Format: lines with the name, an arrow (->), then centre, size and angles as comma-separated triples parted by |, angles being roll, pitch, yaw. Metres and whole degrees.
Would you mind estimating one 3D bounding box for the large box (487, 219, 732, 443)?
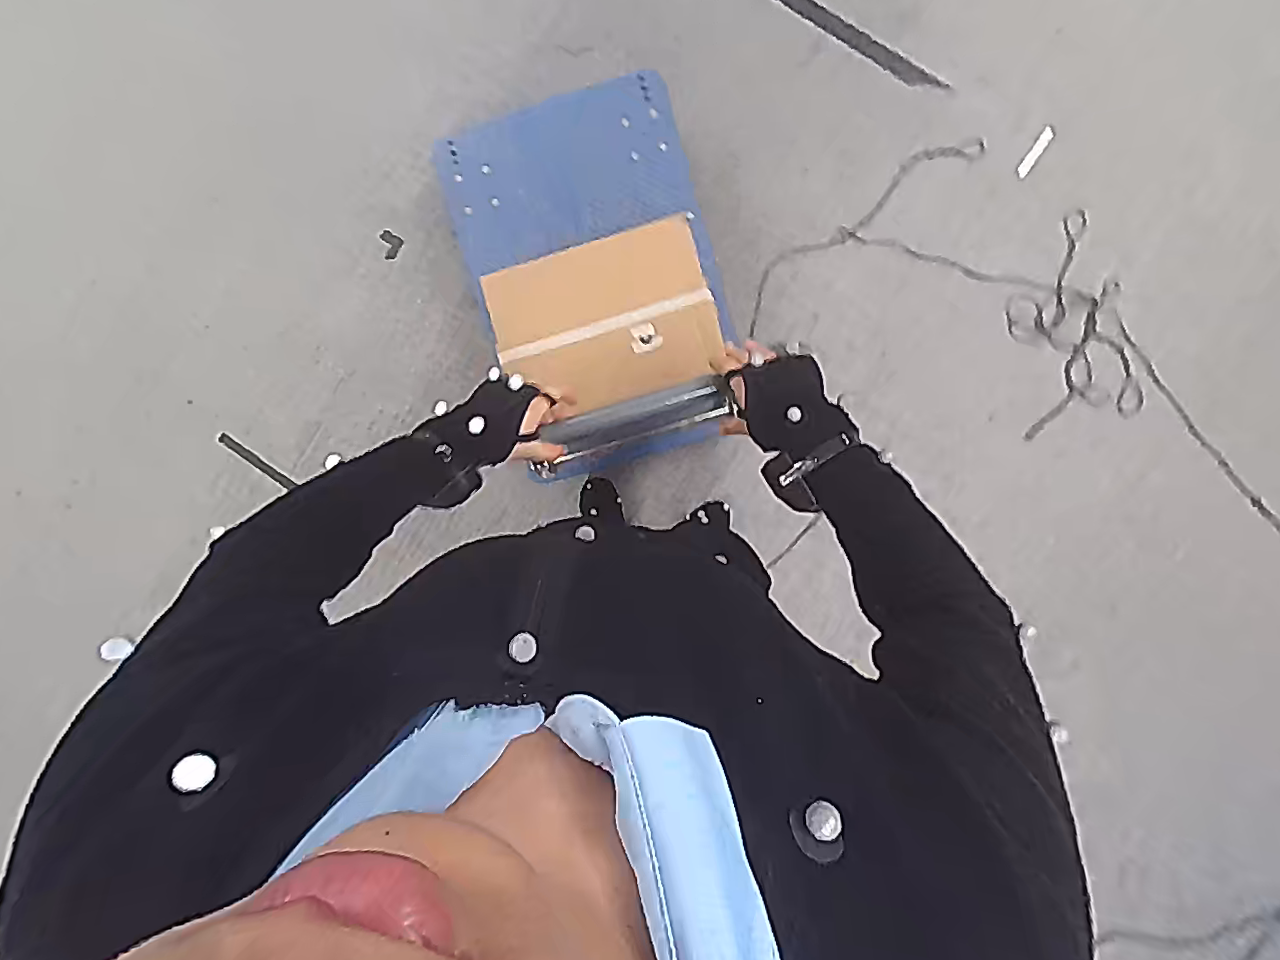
large box -> -0.056, -0.287, 1.162 | 0.408, 0.320, 0.320 | -16, 92, 2
